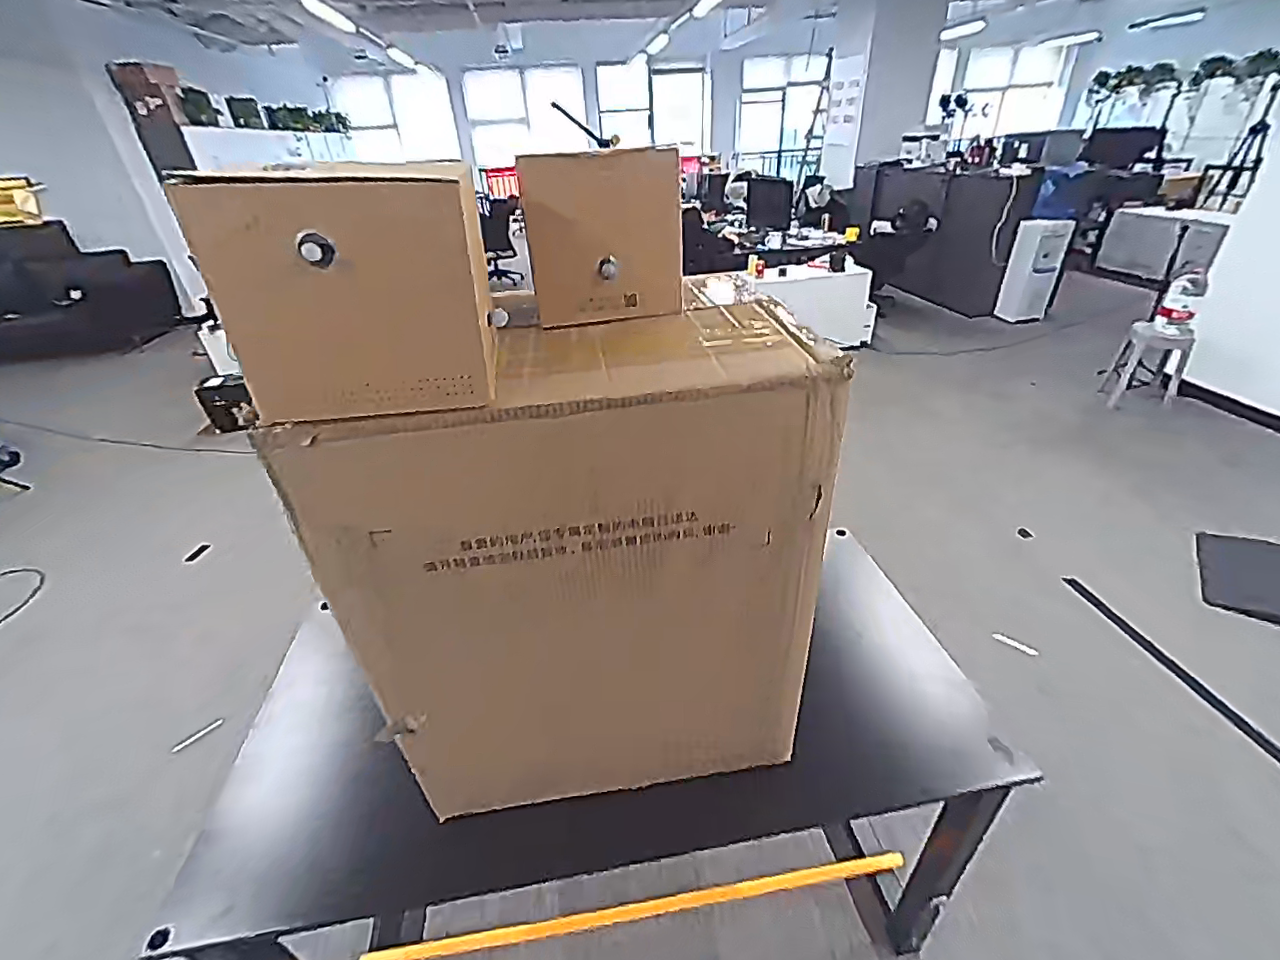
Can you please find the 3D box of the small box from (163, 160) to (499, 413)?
[{"bbox_3d":[-0.220,-0.163,0.448,0.179,0.176,0.168,-6,33,-10],"label":"small box"}]

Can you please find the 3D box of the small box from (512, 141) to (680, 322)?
[{"bbox_3d":[-0.053,-0.293,0.639,0.168,0.176,0.179,-9,31,-7],"label":"small box"}]
